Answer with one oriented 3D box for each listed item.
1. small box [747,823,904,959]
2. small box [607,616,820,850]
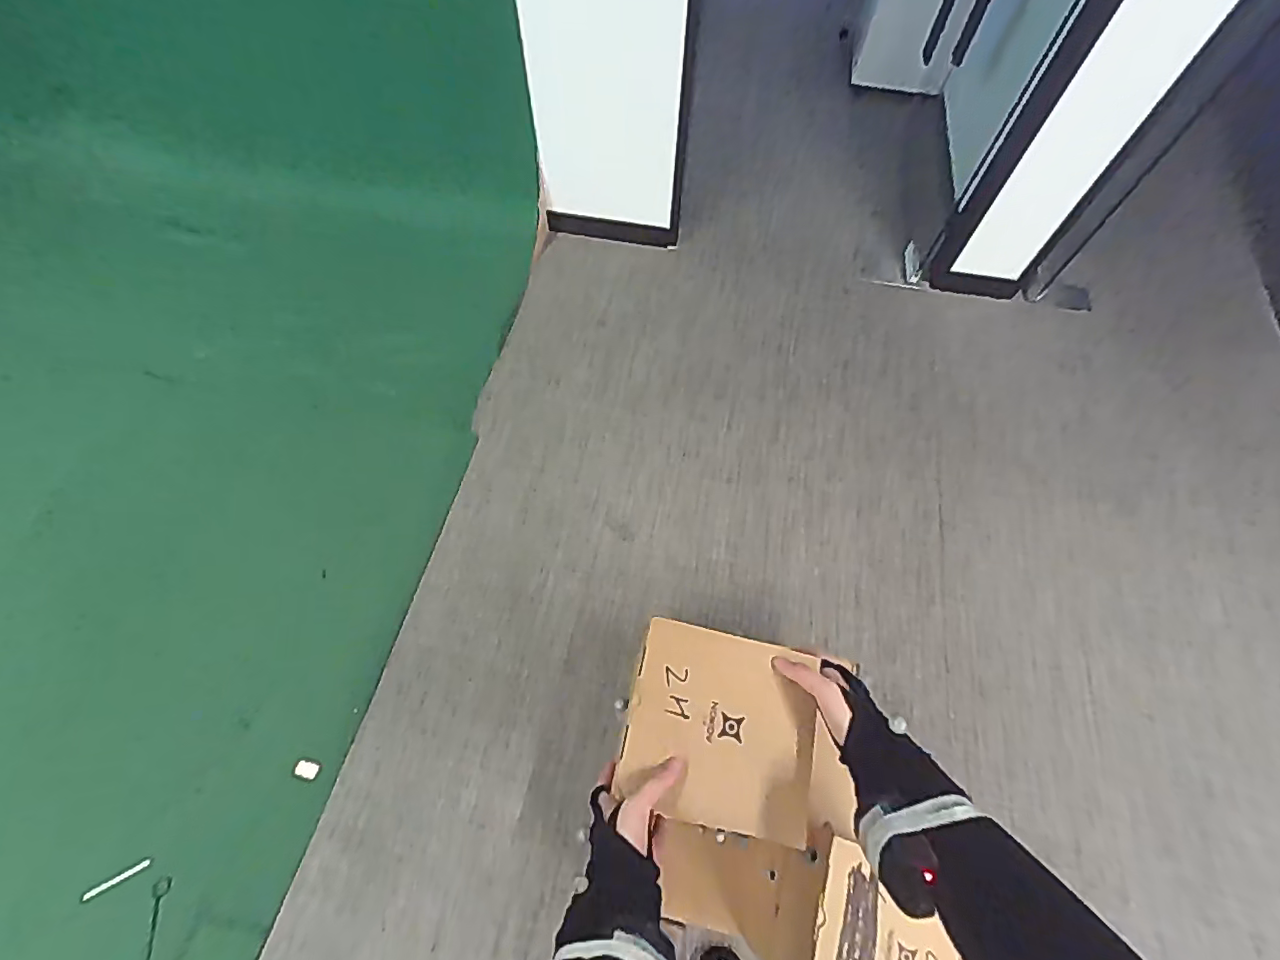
[{"bbox_3d":[0.262,0.613,0.785,0.168,0.176,0.179,14,61,6],"label":"small box"},{"bbox_3d":[0.070,0.261,0.575,0.179,0.176,0.168,14,64,4],"label":"small box"}]
